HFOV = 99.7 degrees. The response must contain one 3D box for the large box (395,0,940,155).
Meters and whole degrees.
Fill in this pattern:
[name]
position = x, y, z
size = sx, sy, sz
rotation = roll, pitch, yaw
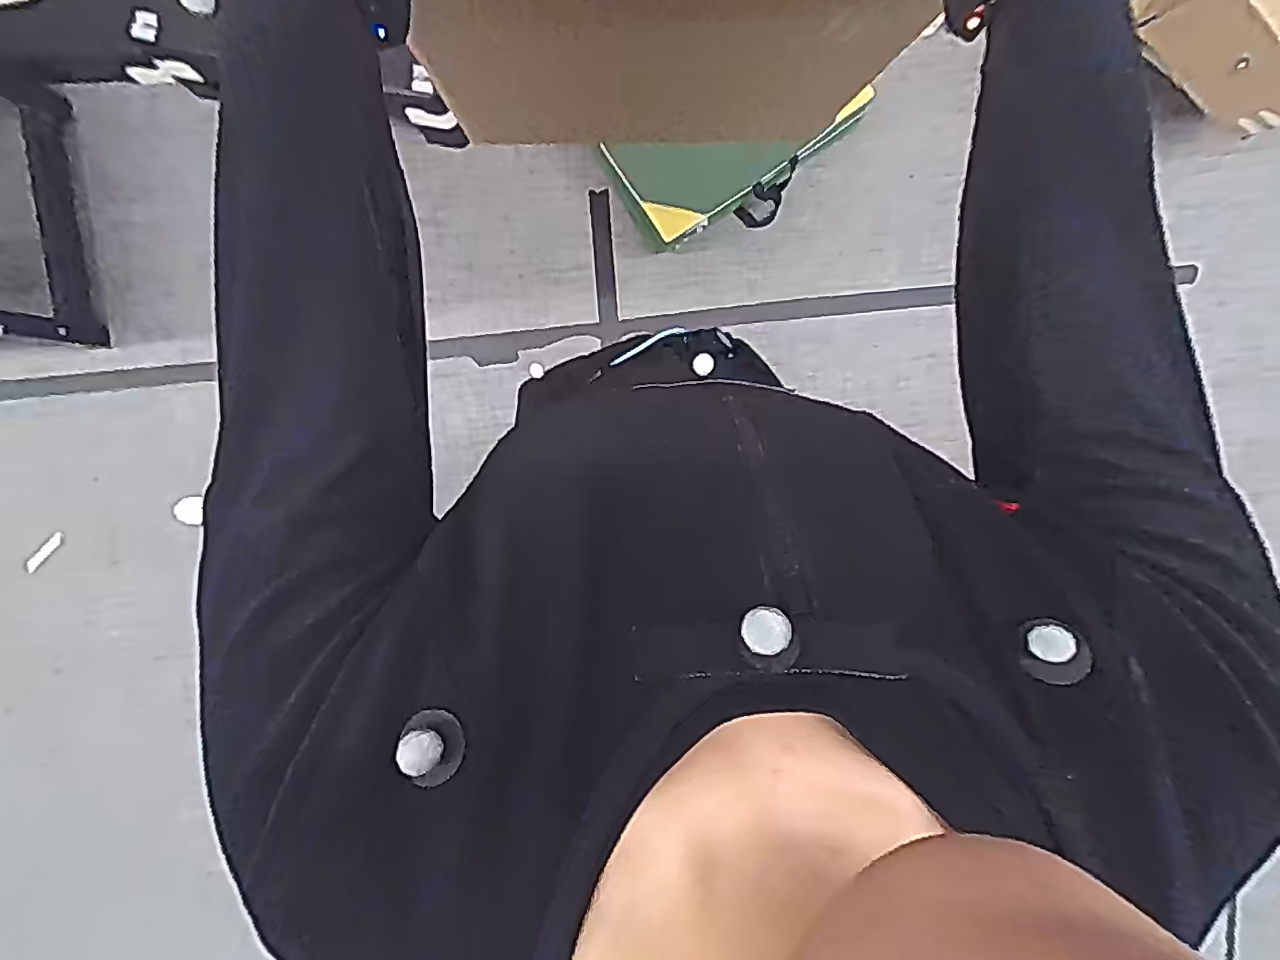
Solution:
[large box]
position = 0.009, -0.510, 0.470
size = 0.408, 0.320, 0.320
rotation = -3, 104, -4
